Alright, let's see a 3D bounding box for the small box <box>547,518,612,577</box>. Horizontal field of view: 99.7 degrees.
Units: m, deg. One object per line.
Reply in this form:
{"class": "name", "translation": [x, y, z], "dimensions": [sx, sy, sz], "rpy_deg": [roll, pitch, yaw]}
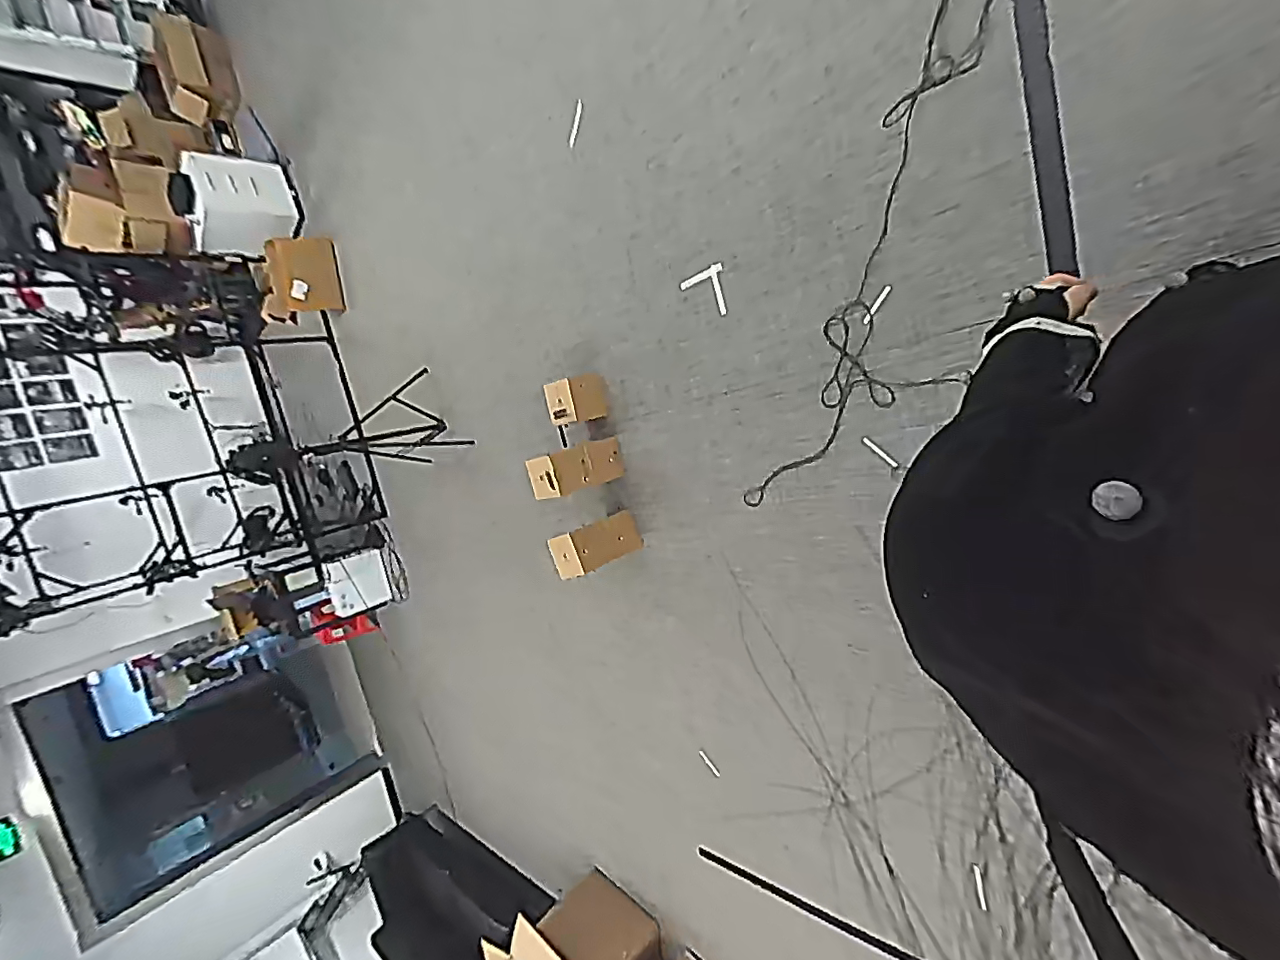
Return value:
{"class": "small box", "translation": [-0.241, 0.271, 2.176], "dimensions": [0.168, 0.176, 0.179], "rpy_deg": [-23, 87, 45]}

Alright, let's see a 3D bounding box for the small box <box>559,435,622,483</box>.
{"class": "small box", "translation": [-0.204, -0.085, 2.245], "dimensions": [0.179, 0.176, 0.168], "rpy_deg": [-4, 103, 45]}

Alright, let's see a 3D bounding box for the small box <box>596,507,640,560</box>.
{"class": "small box", "translation": [-0.129, 0.233, 2.288], "dimensions": [0.168, 0.176, 0.179], "rpy_deg": [-25, 88, 46]}

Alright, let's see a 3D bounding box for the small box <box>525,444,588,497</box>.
{"class": "small box", "translation": [-0.322, -0.039, 2.139], "dimensions": [0.179, 0.176, 0.168], "rpy_deg": [-8, 99, 47]}
